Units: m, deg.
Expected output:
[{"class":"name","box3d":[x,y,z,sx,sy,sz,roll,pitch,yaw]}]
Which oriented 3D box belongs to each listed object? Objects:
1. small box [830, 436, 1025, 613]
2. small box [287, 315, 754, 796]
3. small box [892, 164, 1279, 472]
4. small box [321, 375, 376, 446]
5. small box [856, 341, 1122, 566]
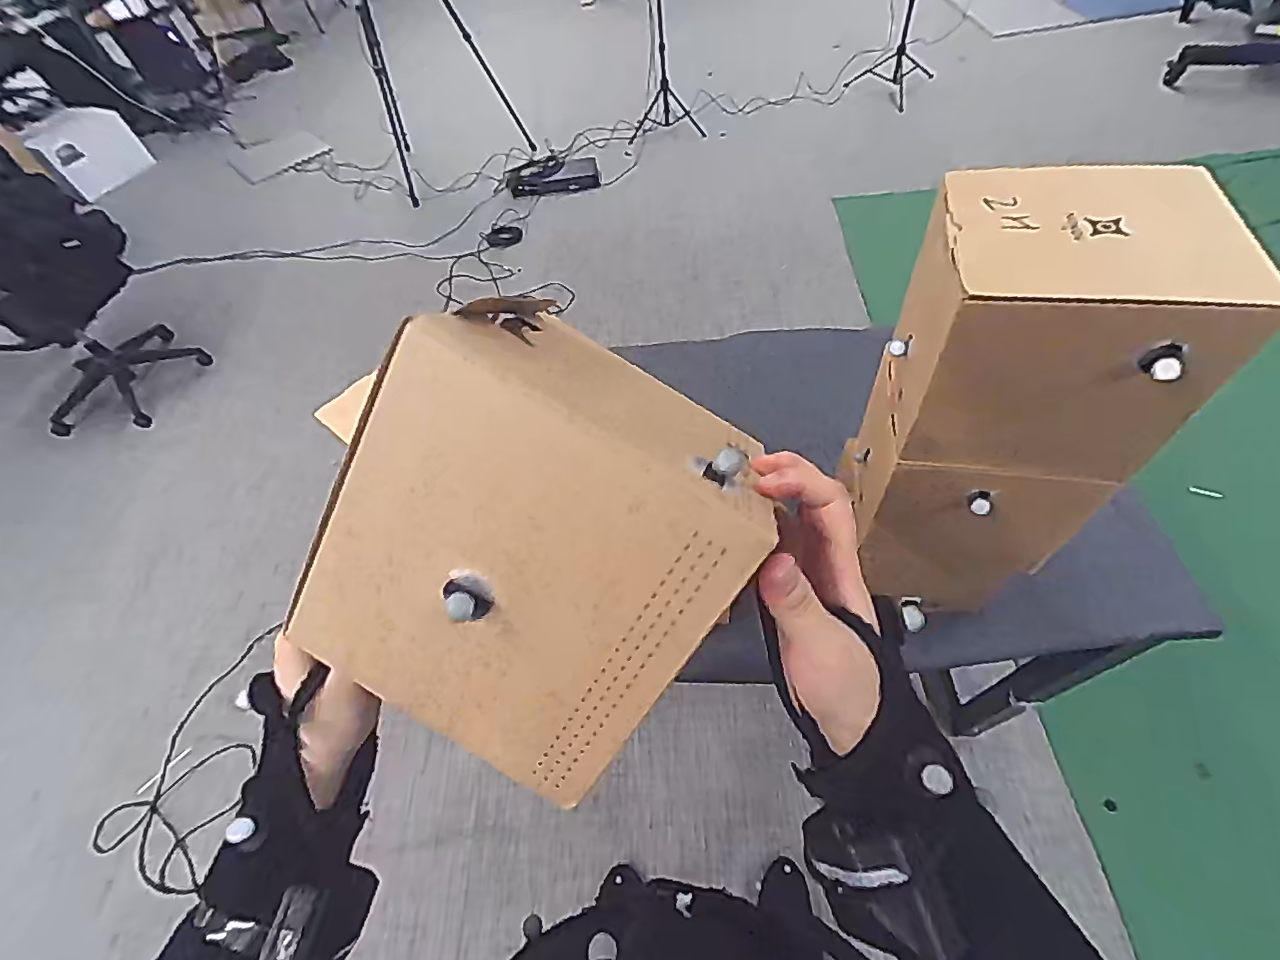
[{"class":"small box","box3d":[0.354,0.057,0.700,0.168,0.176,0.179,-4,54,7]},{"class":"small box","box3d":[-0.048,0.028,0.309,0.176,0.179,0.168,31,22,1]},{"class":"small box","box3d":[0.314,-0.122,0.429,0.179,0.176,0.168,6,55,15]},{"class":"small box","box3d":[-0.375,-0.067,0.900,0.179,0.176,0.168,32,66,26]},{"class":"small box","box3d":[0.333,-0.024,0.561,0.179,0.176,0.168,5,55,14]}]
